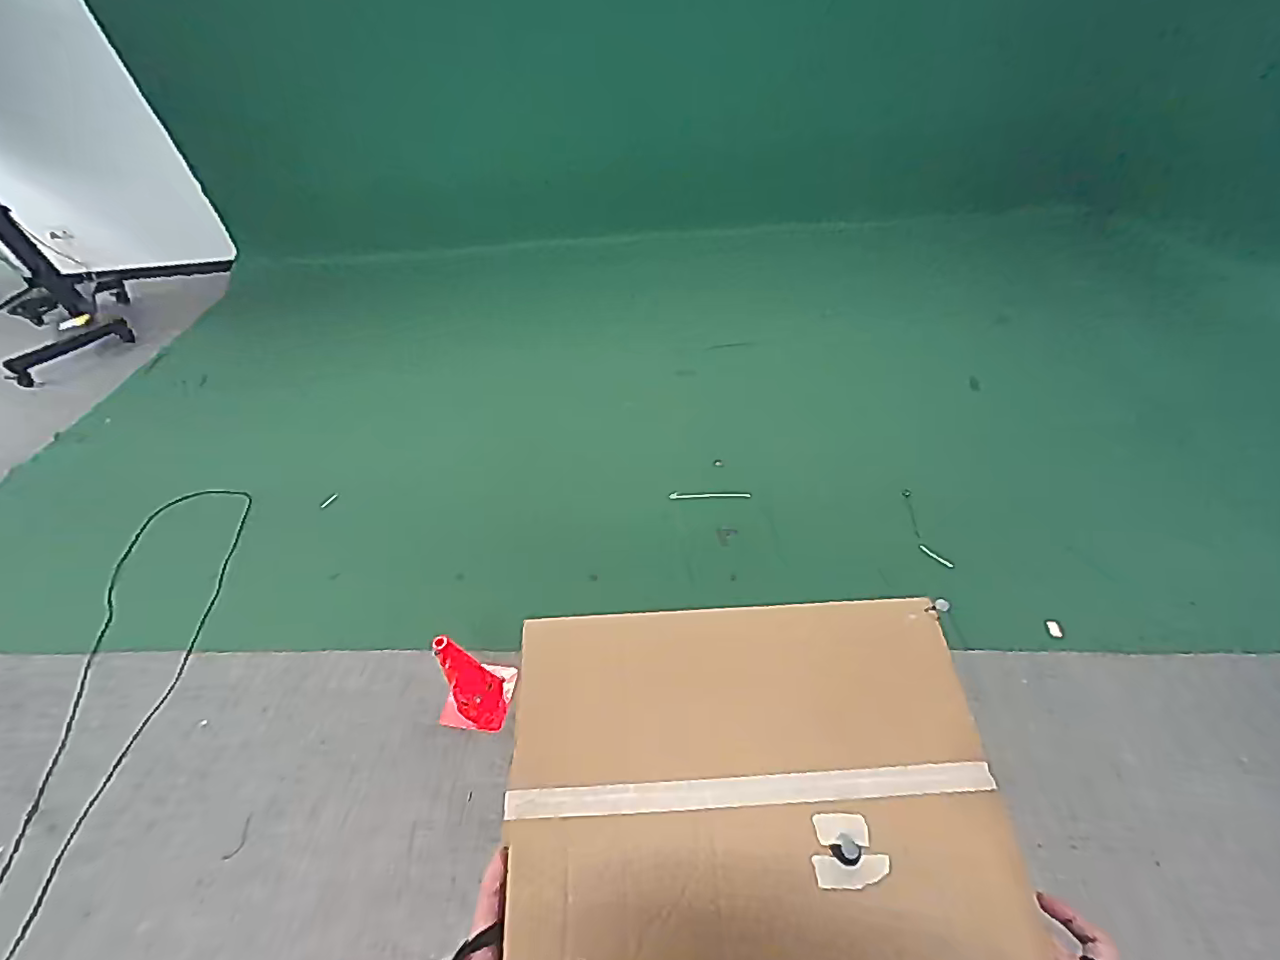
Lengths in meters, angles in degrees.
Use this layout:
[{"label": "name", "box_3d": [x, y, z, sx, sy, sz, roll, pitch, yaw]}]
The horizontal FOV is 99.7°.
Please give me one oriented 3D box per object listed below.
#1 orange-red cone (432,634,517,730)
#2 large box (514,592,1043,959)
[{"label": "orange-red cone", "box_3d": [-0.513, 0.543, 1.544, 0.199, 0.360, 0.198, 3, 46, 12]}, {"label": "large box", "box_3d": [0.095, 0.337, 0.595, 0.408, 0.320, 0.320, -3, 59, -1]}]
